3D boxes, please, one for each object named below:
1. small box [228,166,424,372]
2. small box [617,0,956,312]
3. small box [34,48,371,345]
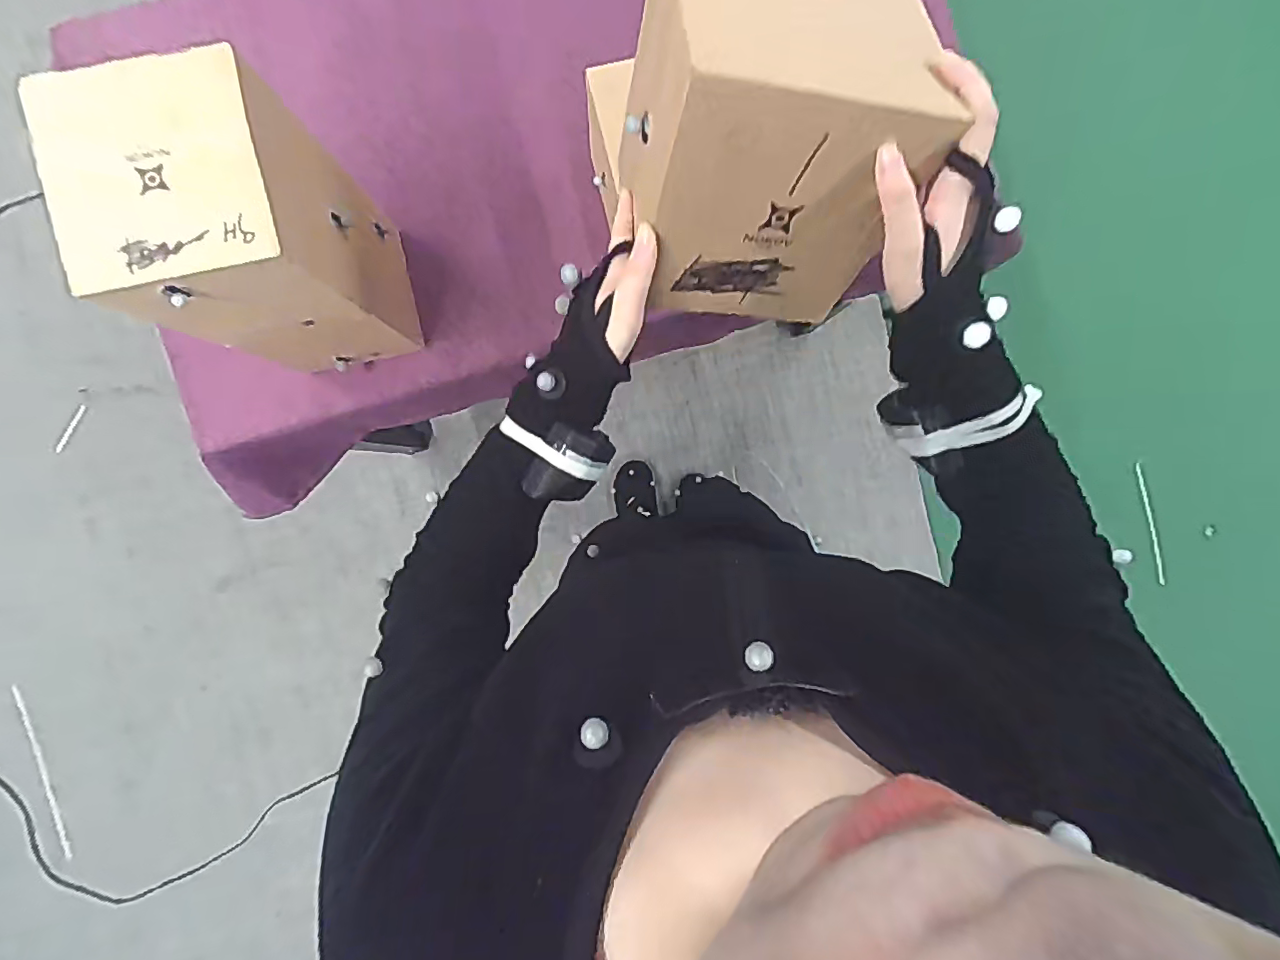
[{"bbox_3d":[-0.393,-0.249,0.676,0.168,0.176,0.179,-12,92,-2],"label":"small box"},{"bbox_3d":[0.077,-0.251,0.390,0.168,0.179,0.176,0,65,-12],"label":"small box"},{"bbox_3d":[-0.386,-0.246,0.511,0.168,0.176,0.179,-13,90,-1],"label":"small box"}]
